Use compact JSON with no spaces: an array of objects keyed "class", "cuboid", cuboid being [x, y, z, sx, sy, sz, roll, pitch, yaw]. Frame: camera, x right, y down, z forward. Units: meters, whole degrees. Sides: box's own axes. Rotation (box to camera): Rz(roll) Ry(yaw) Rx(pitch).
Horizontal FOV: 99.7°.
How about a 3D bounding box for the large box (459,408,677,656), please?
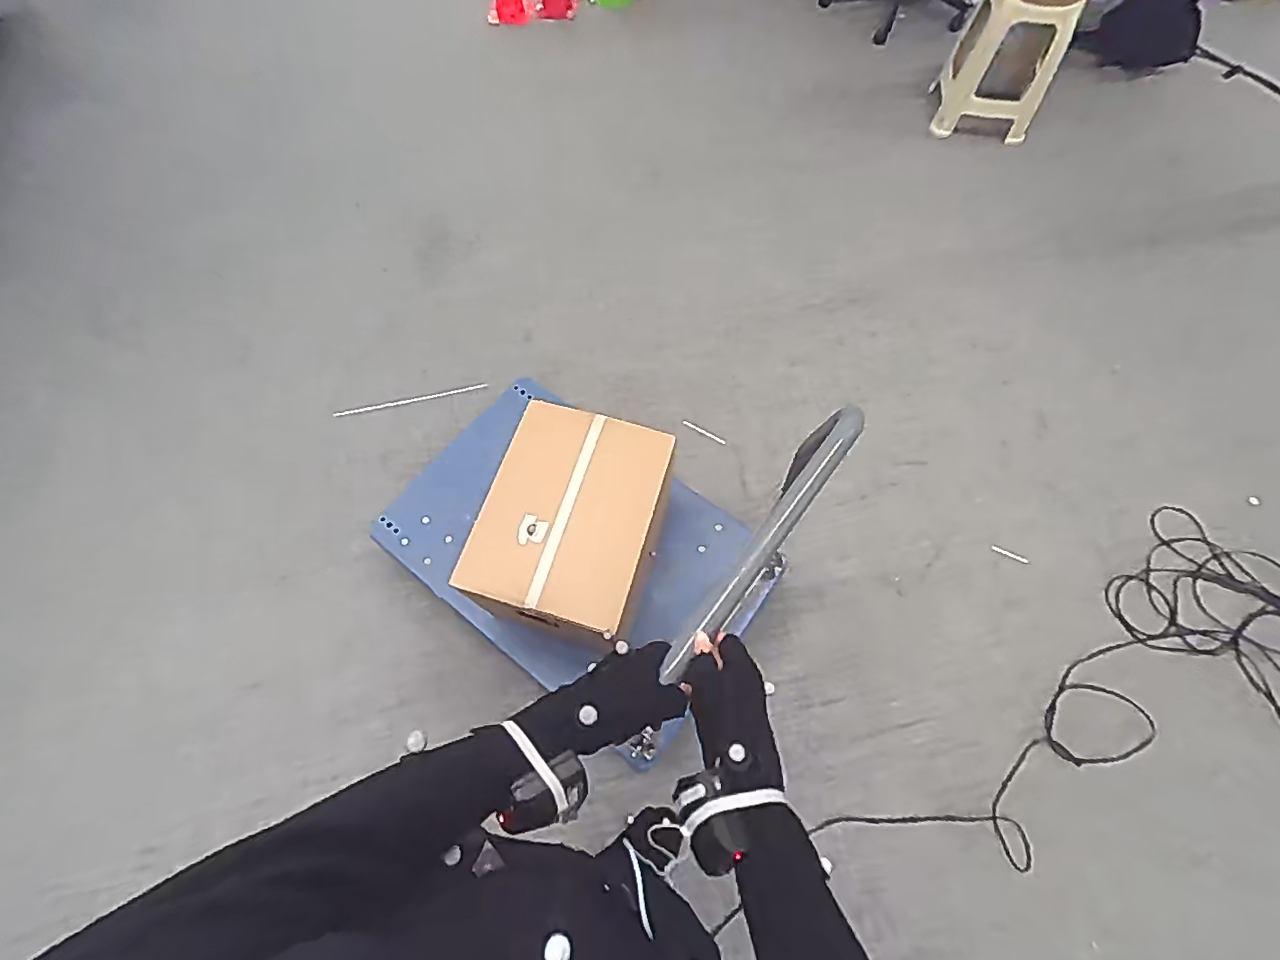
[{"class":"large box","cuboid":[-0.124,0.121,1.152,0.320,0.320,0.408,15,67,8]}]
